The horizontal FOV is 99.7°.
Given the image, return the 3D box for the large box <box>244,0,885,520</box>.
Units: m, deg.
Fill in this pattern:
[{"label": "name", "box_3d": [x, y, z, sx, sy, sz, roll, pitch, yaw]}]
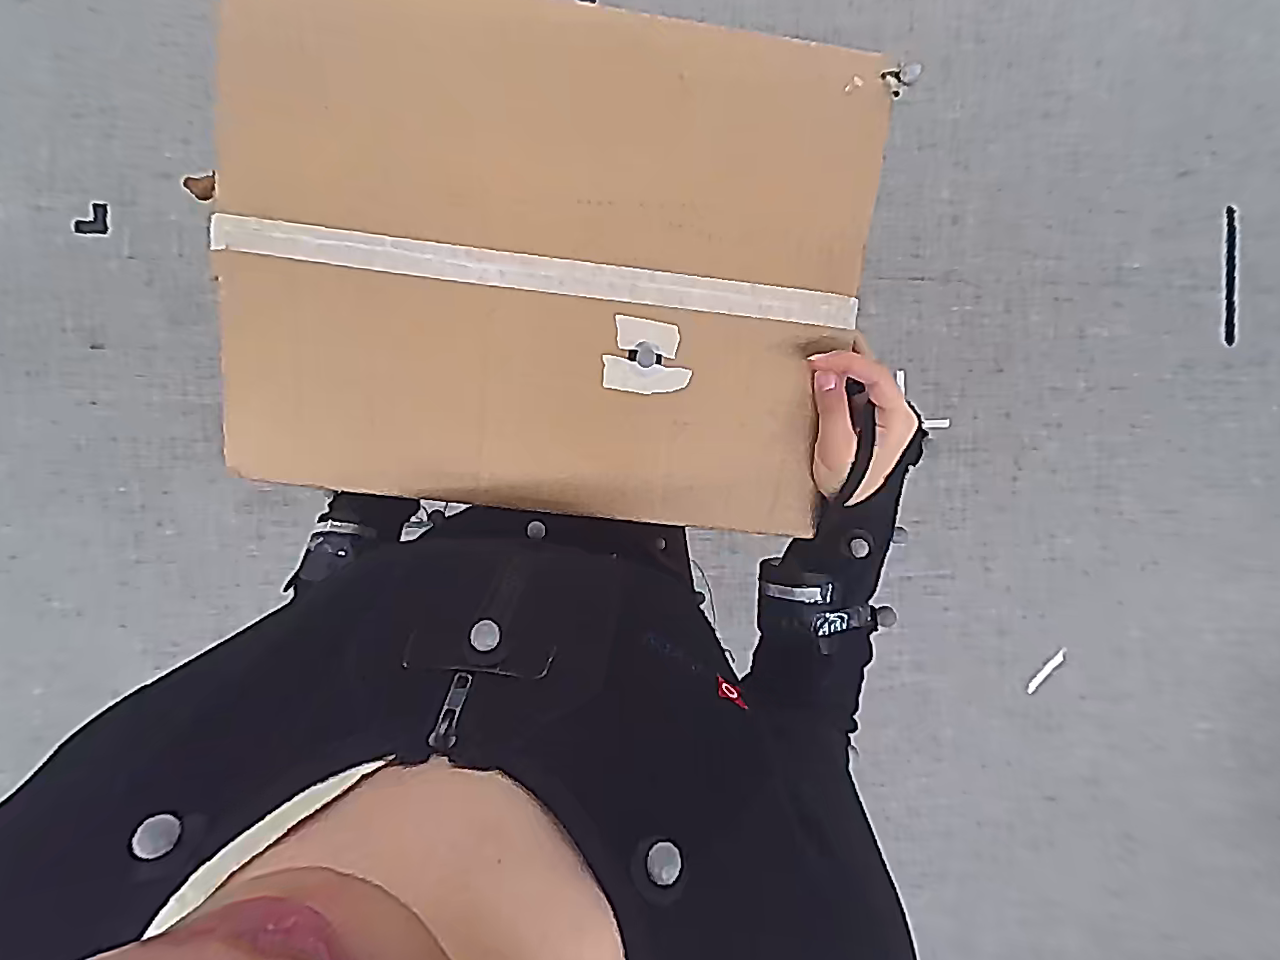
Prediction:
[{"label": "large box", "box_3d": [-0.063, -0.160, 0.503, 0.408, 0.320, 0.320, 5, 101, -5]}]
